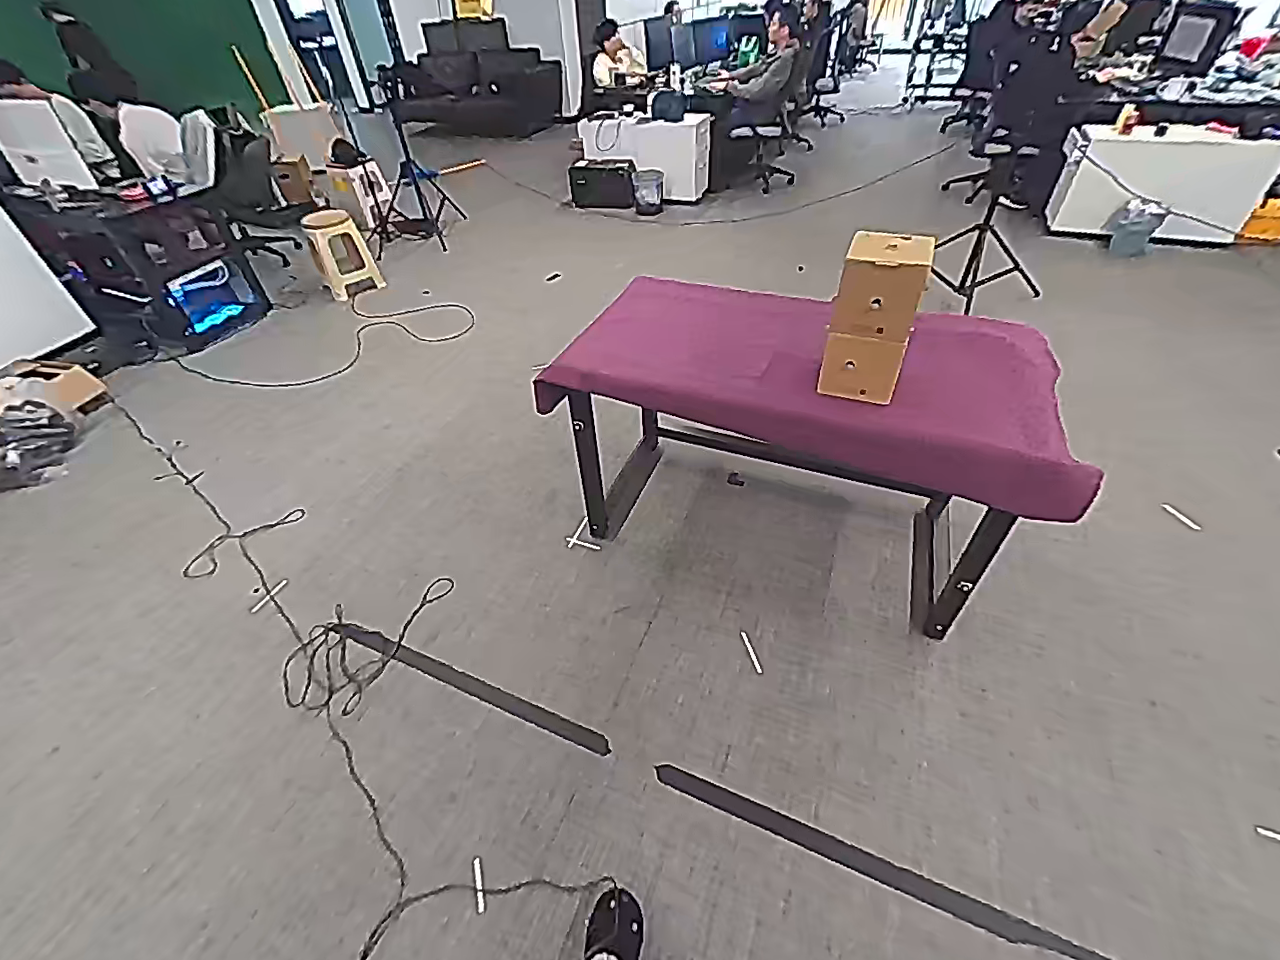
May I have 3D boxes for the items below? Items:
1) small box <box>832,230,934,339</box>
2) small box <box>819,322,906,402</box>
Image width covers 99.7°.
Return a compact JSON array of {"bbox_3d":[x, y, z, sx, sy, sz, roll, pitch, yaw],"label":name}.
[{"bbox_3d":[0.534,-0.433,1.199,0.168,0.176,0.179,15,46,19],"label":"small box"},{"bbox_3d":[0.540,-0.310,1.308,0.168,0.176,0.179,14,45,19],"label":"small box"}]
